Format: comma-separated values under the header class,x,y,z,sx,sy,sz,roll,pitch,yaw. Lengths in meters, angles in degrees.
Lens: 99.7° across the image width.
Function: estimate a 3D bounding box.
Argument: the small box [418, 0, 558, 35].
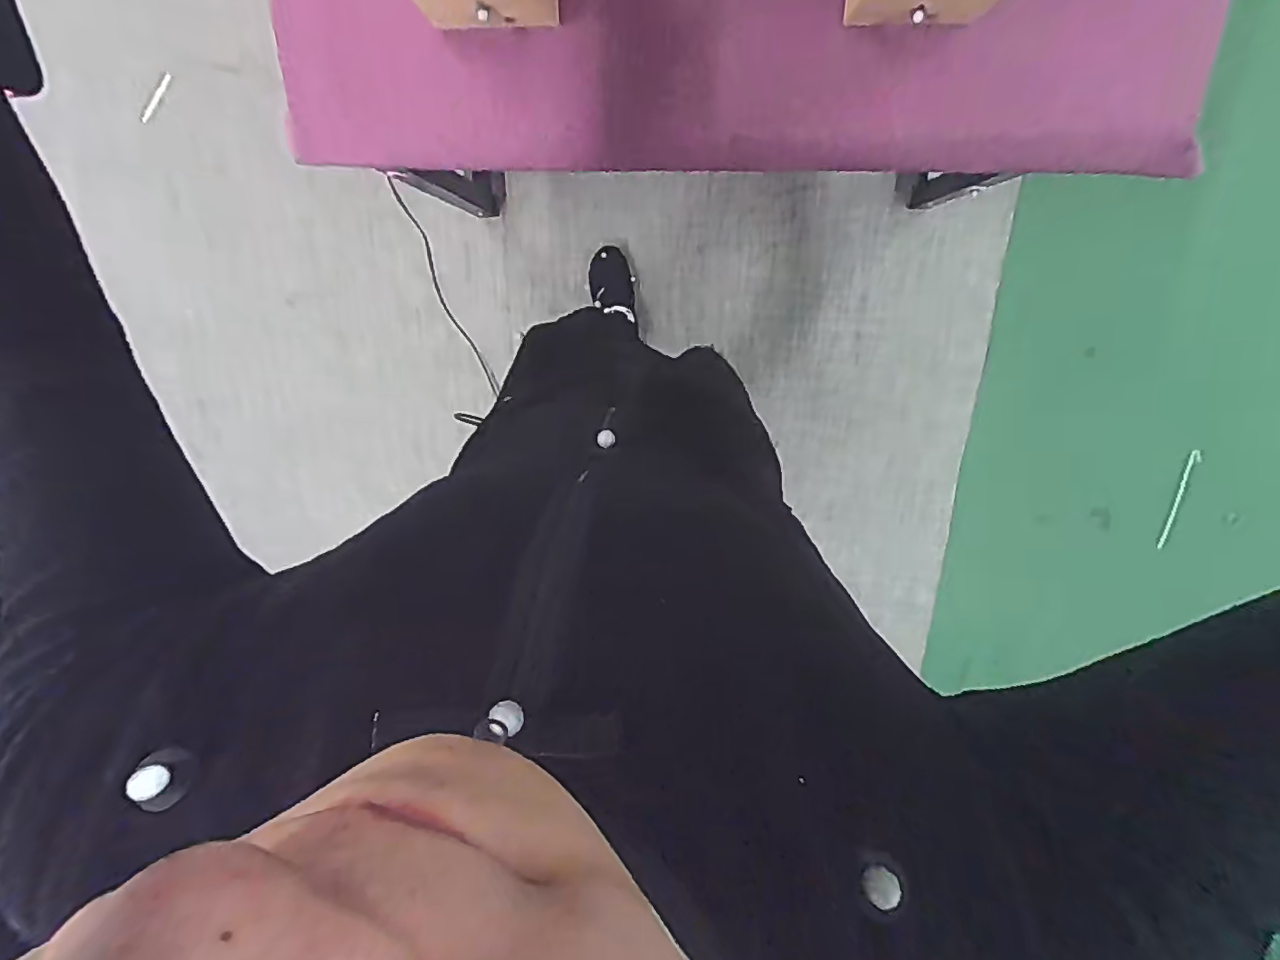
class,x,y,z,sx,sy,sz,roll,pitch,yaw
small box,-0.190,-0.644,0.606,0.168,0.176,0.179,1,108,3
